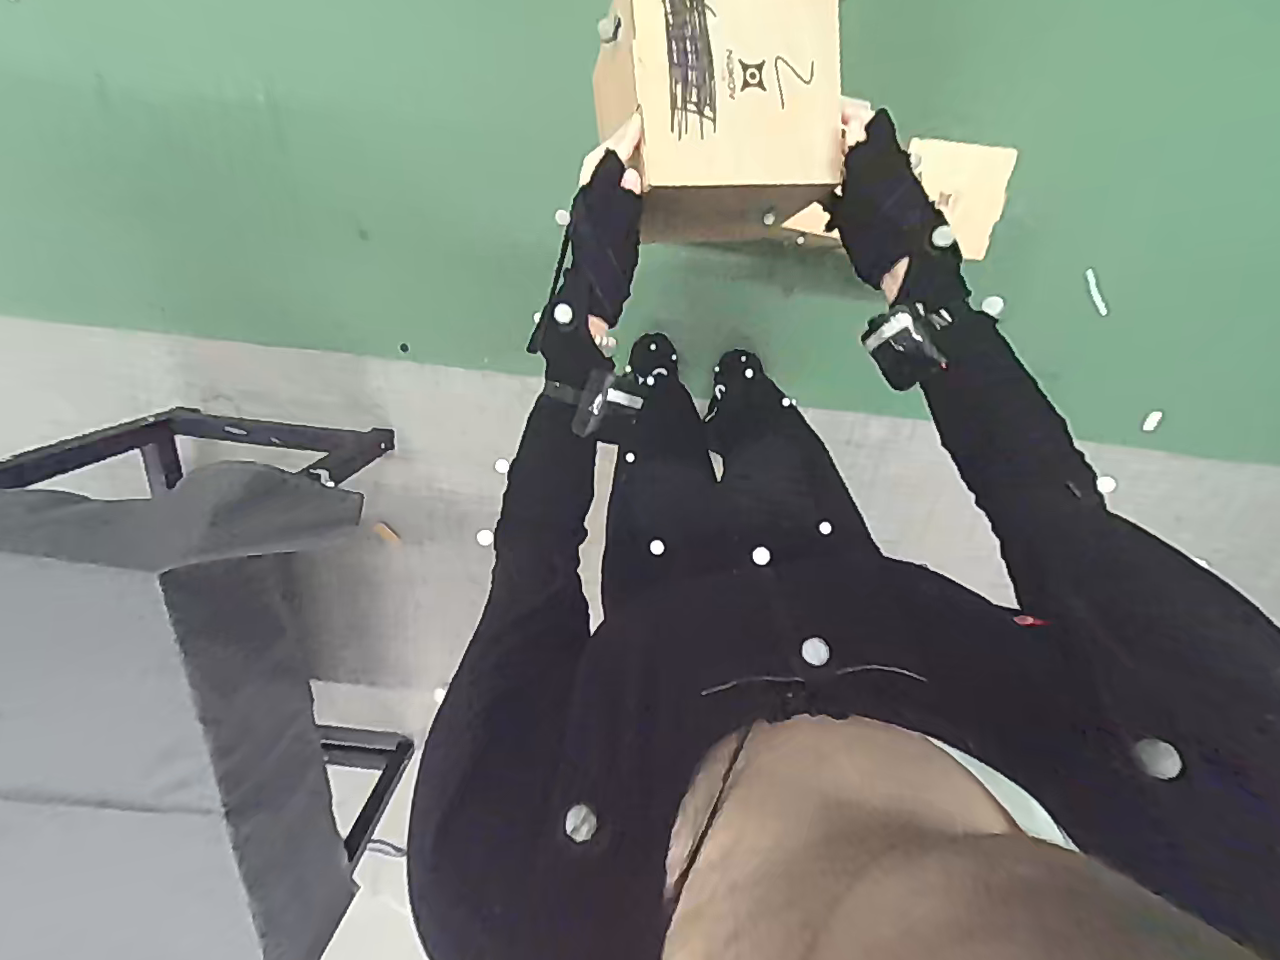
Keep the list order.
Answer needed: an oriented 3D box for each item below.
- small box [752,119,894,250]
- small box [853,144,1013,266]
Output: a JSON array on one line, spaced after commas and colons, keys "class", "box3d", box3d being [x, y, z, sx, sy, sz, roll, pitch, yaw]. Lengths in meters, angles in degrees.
[{"class": "small box", "box3d": [0.314, -0.519, 0.971, 0.179, 0.176, 0.168, 12, 112, -1]}, {"class": "small box", "box3d": [0.512, -0.485, 0.975, 0.179, 0.176, 0.168, 8, 111, 0]}]
